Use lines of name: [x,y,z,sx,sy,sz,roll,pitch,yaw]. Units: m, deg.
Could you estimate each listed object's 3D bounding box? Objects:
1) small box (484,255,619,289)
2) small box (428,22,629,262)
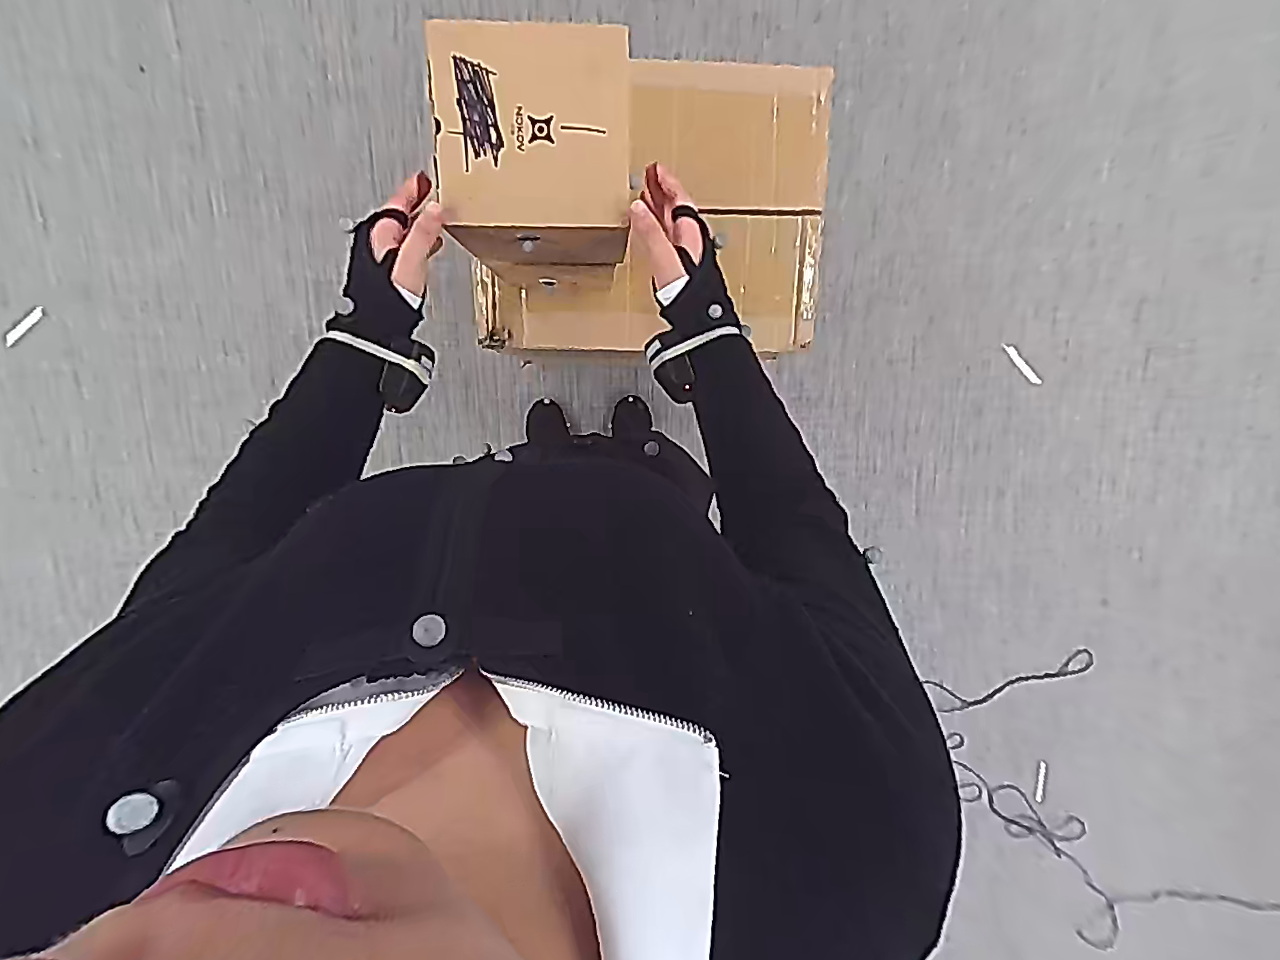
small box: [-0.113,-0.362,0.724,0.168,0.176,0.179,0,102,-3]
small box: [-0.101,-0.330,0.563,0.179,0.176,0.168,-1,101,-4]
